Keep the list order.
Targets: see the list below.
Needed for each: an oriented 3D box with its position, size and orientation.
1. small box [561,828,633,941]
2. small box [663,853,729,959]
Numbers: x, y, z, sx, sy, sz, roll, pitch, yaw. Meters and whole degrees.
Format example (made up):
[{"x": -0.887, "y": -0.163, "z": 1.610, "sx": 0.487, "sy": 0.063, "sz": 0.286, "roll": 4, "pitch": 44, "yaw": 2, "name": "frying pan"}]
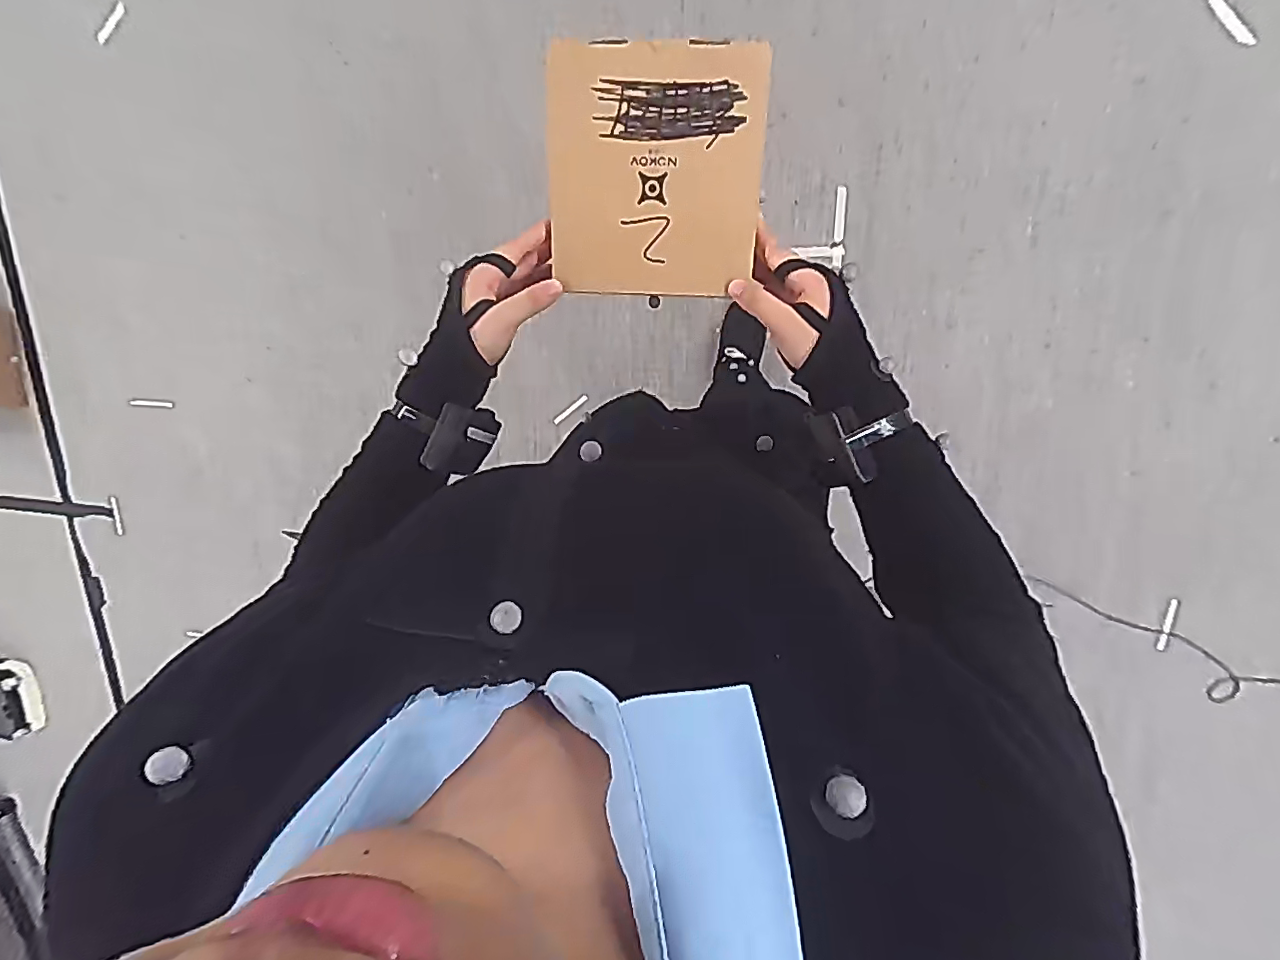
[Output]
[{"x": -0.113, "y": 1.114, "z": 1.498, "sx": 0.168, "sy": 0.176, "sz": 0.179, "roll": 2, "pitch": 104, "yaw": 9, "name": "small box"}, {"x": 0.153, "y": 1.163, "z": 1.464, "sx": 0.168, "sy": 0.176, "sz": 0.179, "roll": 1, "pitch": 103, "yaw": 9, "name": "small box"}]
